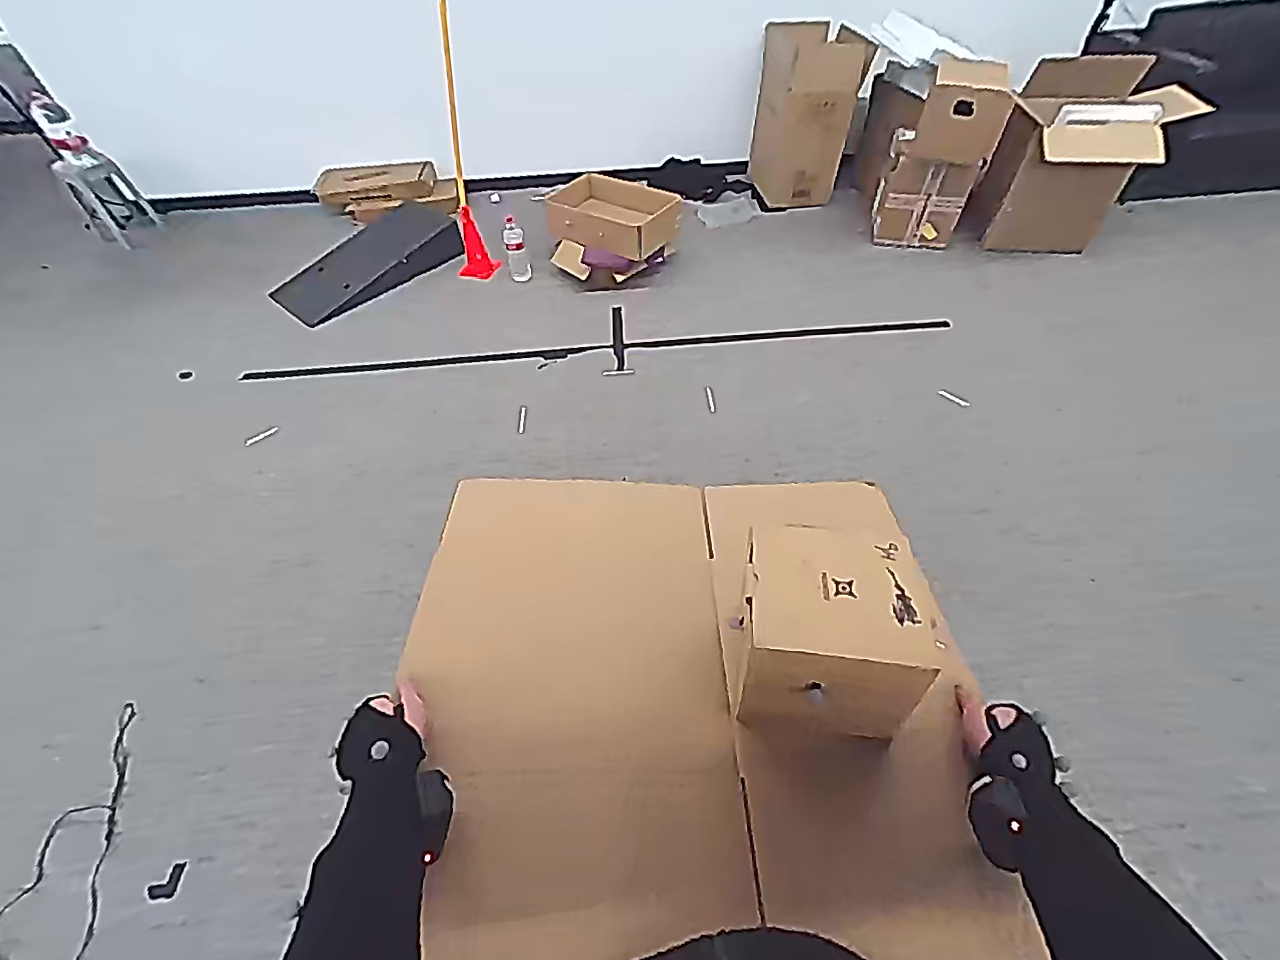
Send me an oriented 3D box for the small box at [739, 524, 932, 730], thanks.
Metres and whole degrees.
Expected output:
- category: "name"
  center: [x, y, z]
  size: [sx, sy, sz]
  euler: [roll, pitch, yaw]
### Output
- category: "small box"
  center: [0.208, 0.171, 0.630]
  size: [0.179, 0.176, 0.168]
  euler: [3, 45, 9]
